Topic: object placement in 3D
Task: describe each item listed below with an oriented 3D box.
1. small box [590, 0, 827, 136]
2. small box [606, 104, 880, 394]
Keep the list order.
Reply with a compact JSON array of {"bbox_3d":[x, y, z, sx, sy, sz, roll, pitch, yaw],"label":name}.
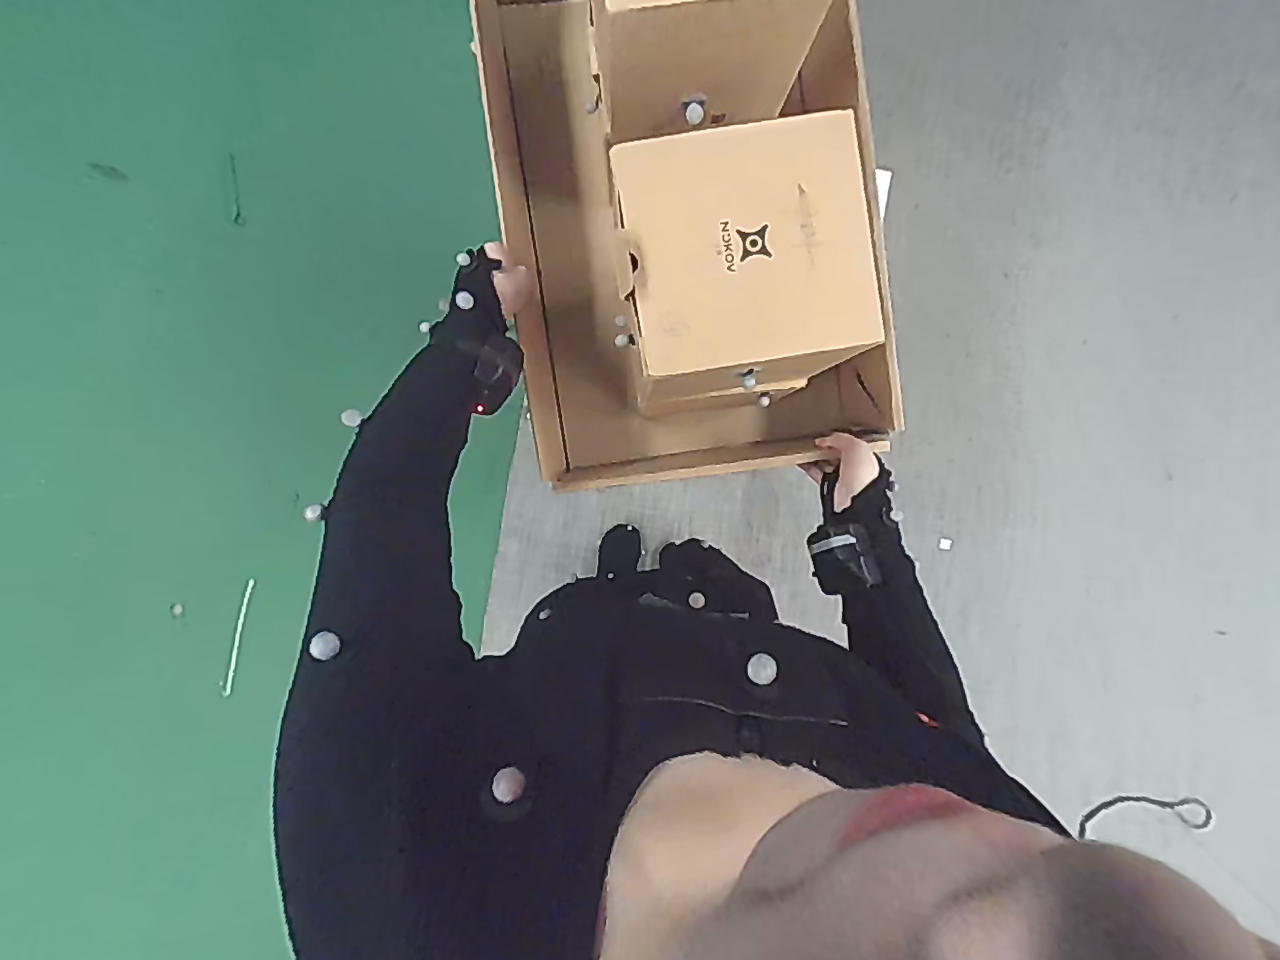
[{"bbox_3d":[0.041,-0.424,0.443,0.168,0.176,0.179,-8,96,-1],"label":"small box"},{"bbox_3d":[0.072,-0.173,0.461,0.179,0.176,0.168,-10,94,-2],"label":"small box"}]
